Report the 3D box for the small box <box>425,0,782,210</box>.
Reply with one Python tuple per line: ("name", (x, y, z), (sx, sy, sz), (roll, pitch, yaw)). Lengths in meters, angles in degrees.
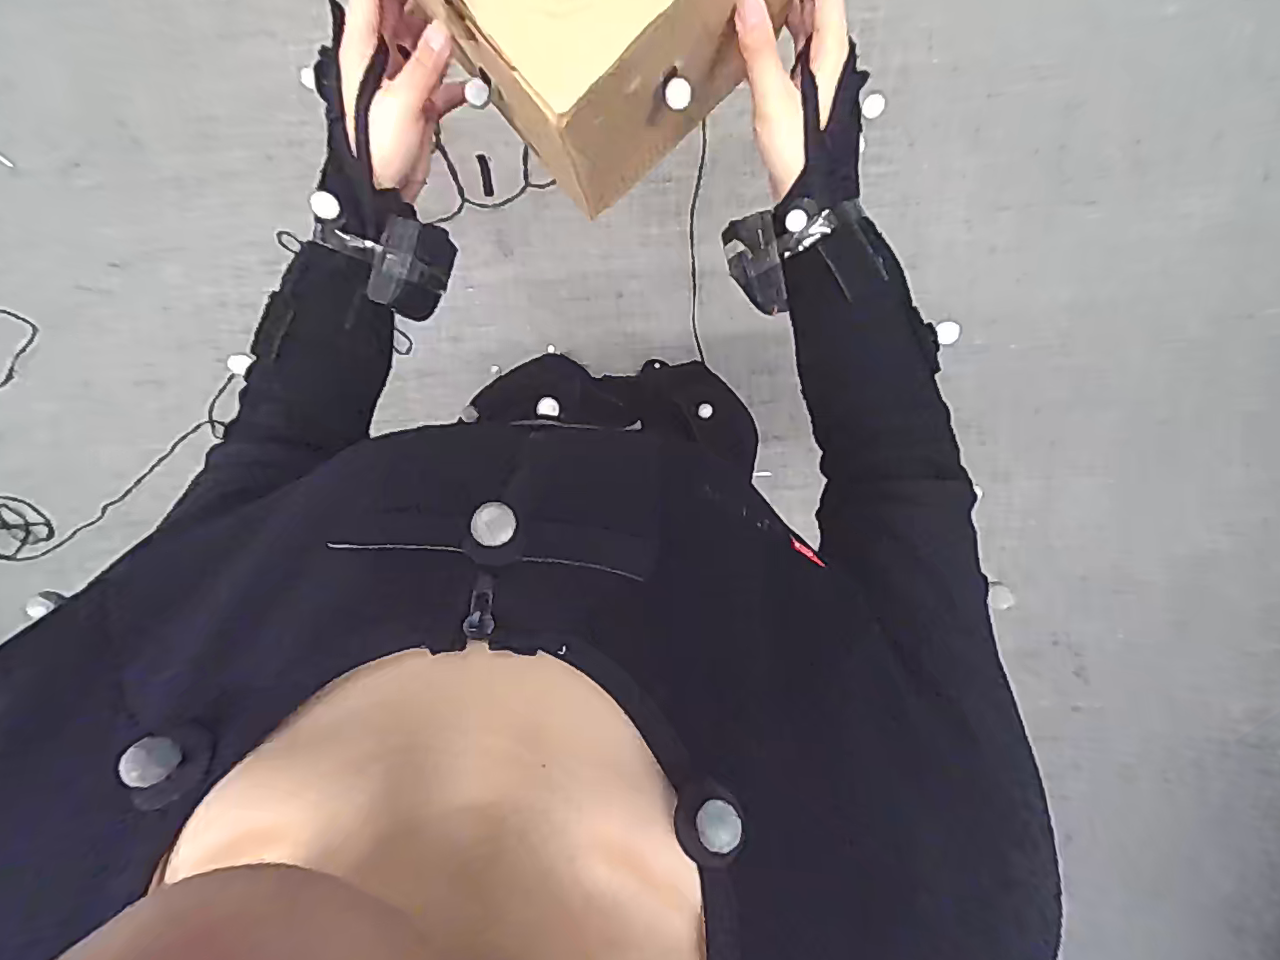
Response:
("small box", (-0.024, -0.294, 0.309), (0.179, 0.176, 0.168), (-41, 98, 9))
